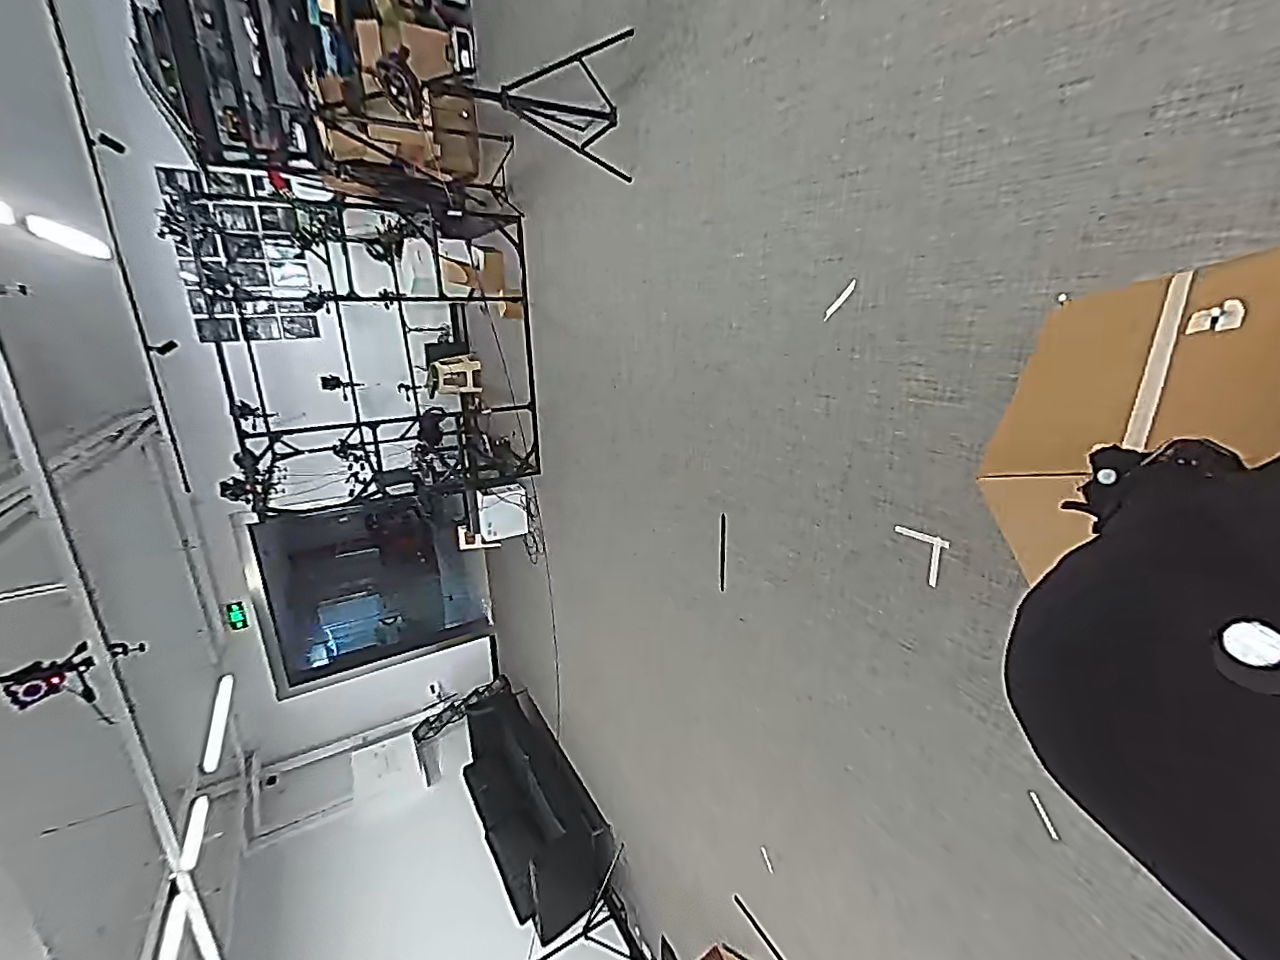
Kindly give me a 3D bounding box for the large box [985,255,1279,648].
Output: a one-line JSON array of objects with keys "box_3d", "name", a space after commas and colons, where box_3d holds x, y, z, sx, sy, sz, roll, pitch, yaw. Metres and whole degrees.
[{"box_3d": [0.746, -0.037, 0.736, 0.320, 0.408, 0.320, 51, 153, -22], "name": "large box"}]
